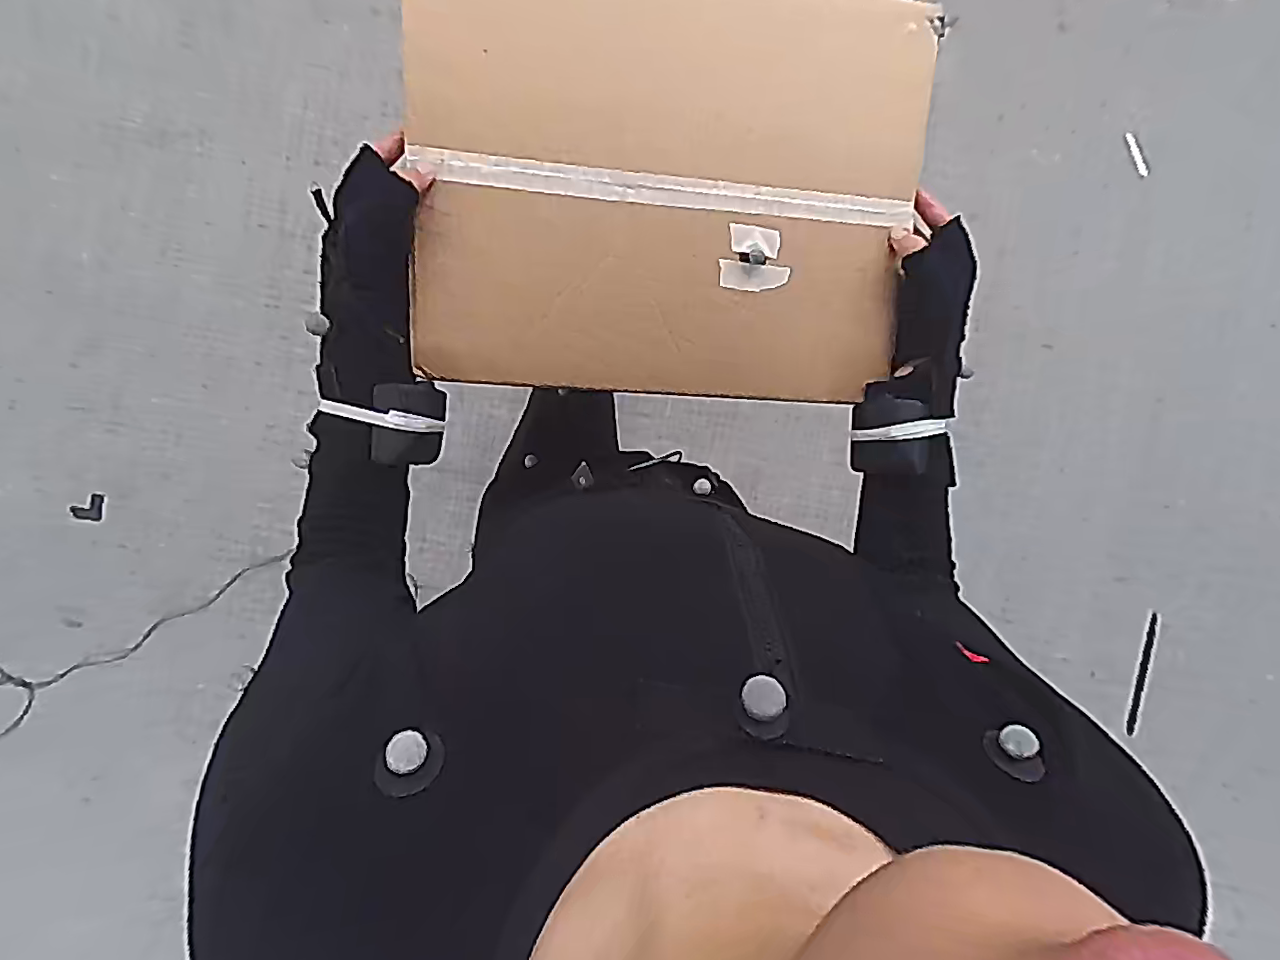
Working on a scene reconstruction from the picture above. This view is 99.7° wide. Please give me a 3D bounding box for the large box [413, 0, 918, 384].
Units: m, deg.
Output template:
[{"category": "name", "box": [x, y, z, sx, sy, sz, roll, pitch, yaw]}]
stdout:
[{"category": "large box", "box": [0.003, -0.272, 0.585, 0.408, 0.320, 0.320, 1, 103, -9]}]
